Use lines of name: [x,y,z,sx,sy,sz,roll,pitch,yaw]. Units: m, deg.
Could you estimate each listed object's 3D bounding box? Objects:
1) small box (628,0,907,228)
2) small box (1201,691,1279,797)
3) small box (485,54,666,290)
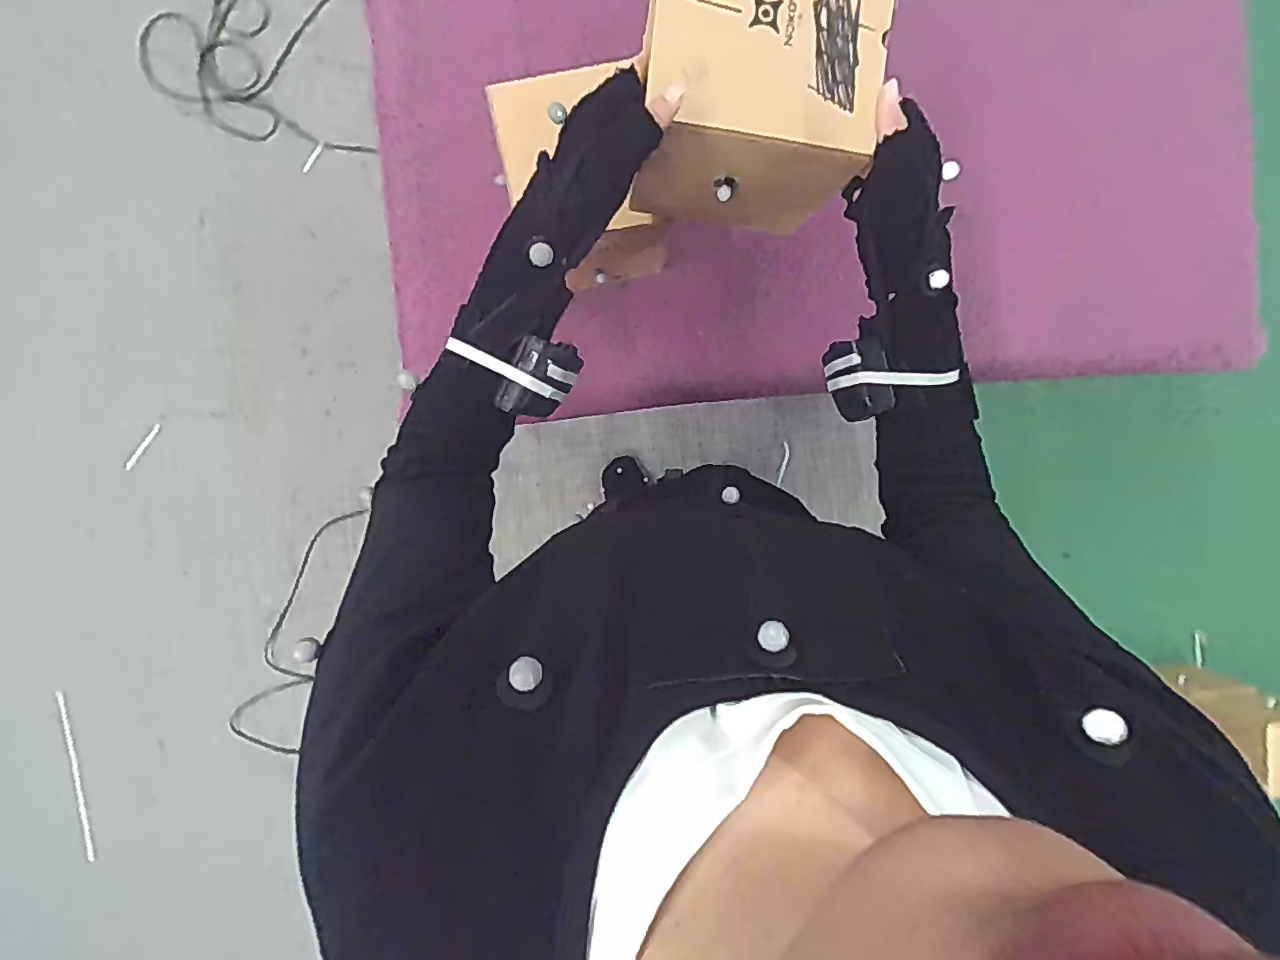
small box: [0.093,-0.337,0.456,0.179,0.176,0.168,10,93,-6]
small box: [1.528,0.630,1.315,0.168,0.176,0.179,-6,94,-1]
small box: [-0.071,-0.352,0.650,0.168,0.176,0.179,-12,93,-1]
